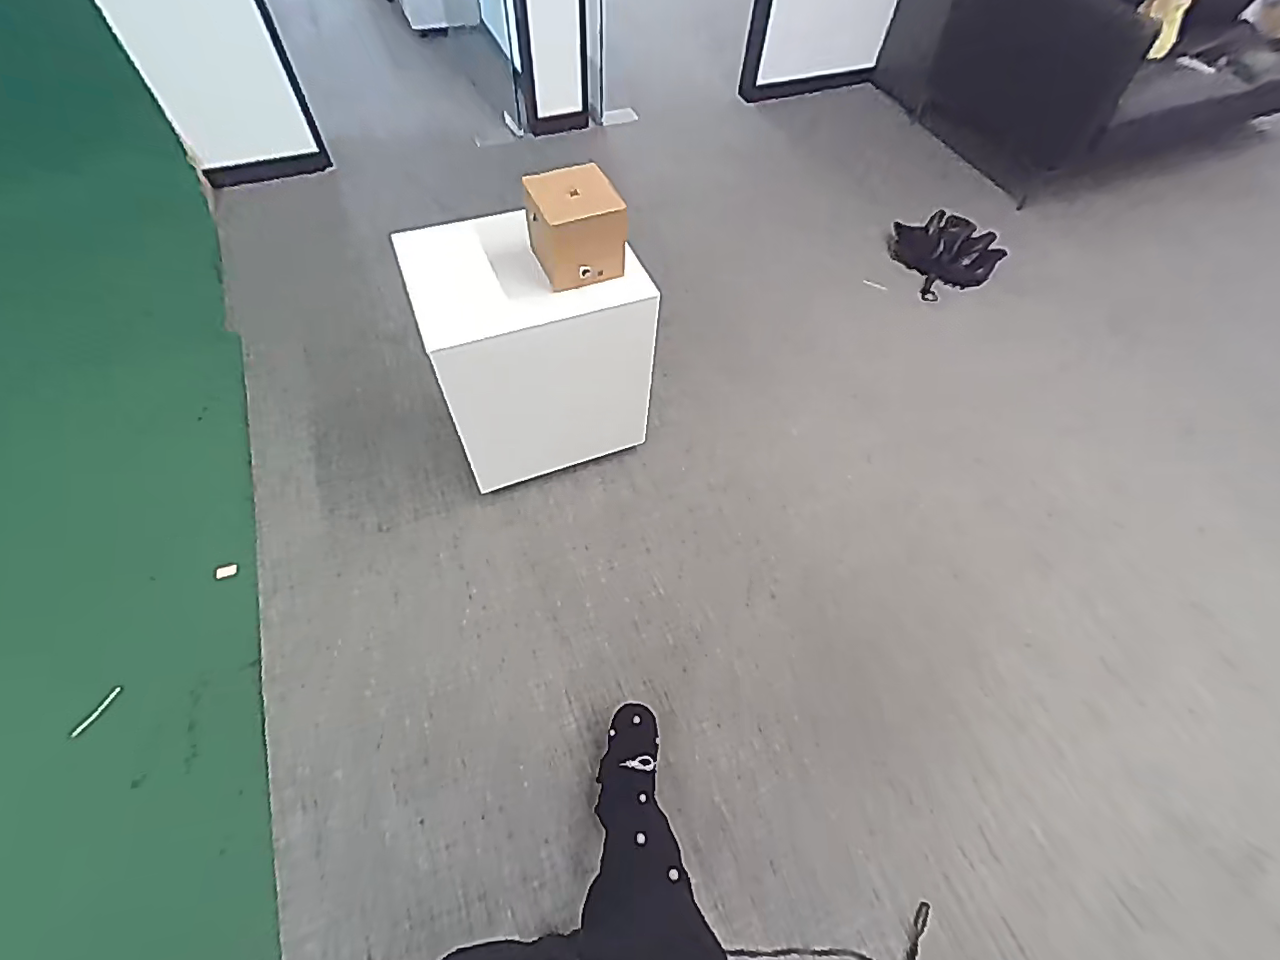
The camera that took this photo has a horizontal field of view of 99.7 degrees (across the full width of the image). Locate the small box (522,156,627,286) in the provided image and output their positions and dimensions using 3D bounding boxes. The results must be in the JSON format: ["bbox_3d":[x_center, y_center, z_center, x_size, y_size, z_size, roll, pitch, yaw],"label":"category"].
[{"bbox_3d":[-0.139,-0.548,1.152,0.168,0.176,0.179,-21,63,-14],"label":"small box"}]
